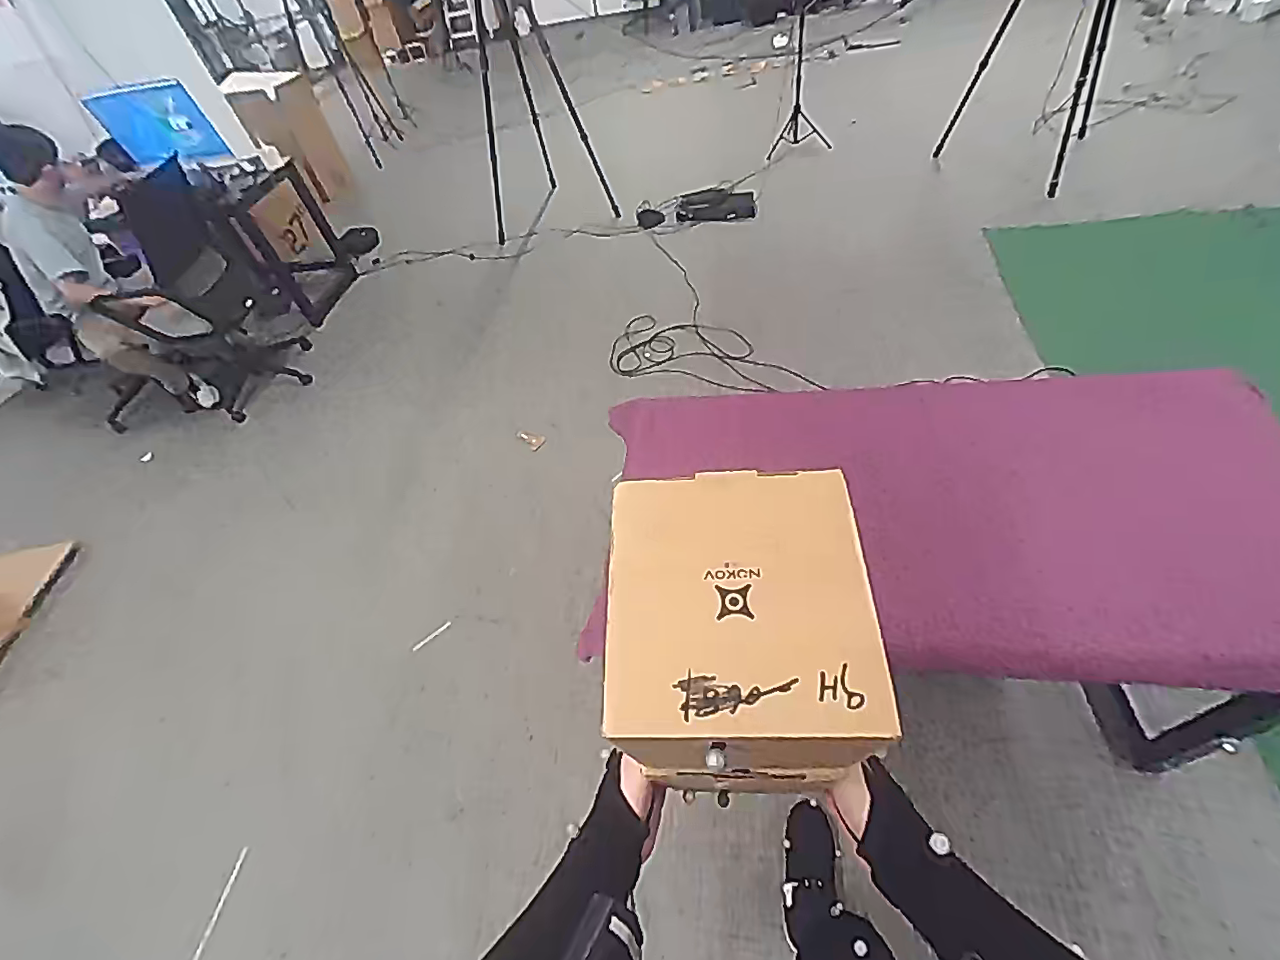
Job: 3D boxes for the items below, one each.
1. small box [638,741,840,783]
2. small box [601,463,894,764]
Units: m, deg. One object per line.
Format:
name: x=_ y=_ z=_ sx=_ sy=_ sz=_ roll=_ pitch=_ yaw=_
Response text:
small box: x=0.094 y=0.202 z=0.546 sx=0.168 sy=0.176 sz=0.179 roll=-3 pitch=56 yaw=8
small box: x=0.072 y=0.108 z=0.414 sx=0.168 sy=0.176 sz=0.179 roll=-4 pitch=56 yaw=8
